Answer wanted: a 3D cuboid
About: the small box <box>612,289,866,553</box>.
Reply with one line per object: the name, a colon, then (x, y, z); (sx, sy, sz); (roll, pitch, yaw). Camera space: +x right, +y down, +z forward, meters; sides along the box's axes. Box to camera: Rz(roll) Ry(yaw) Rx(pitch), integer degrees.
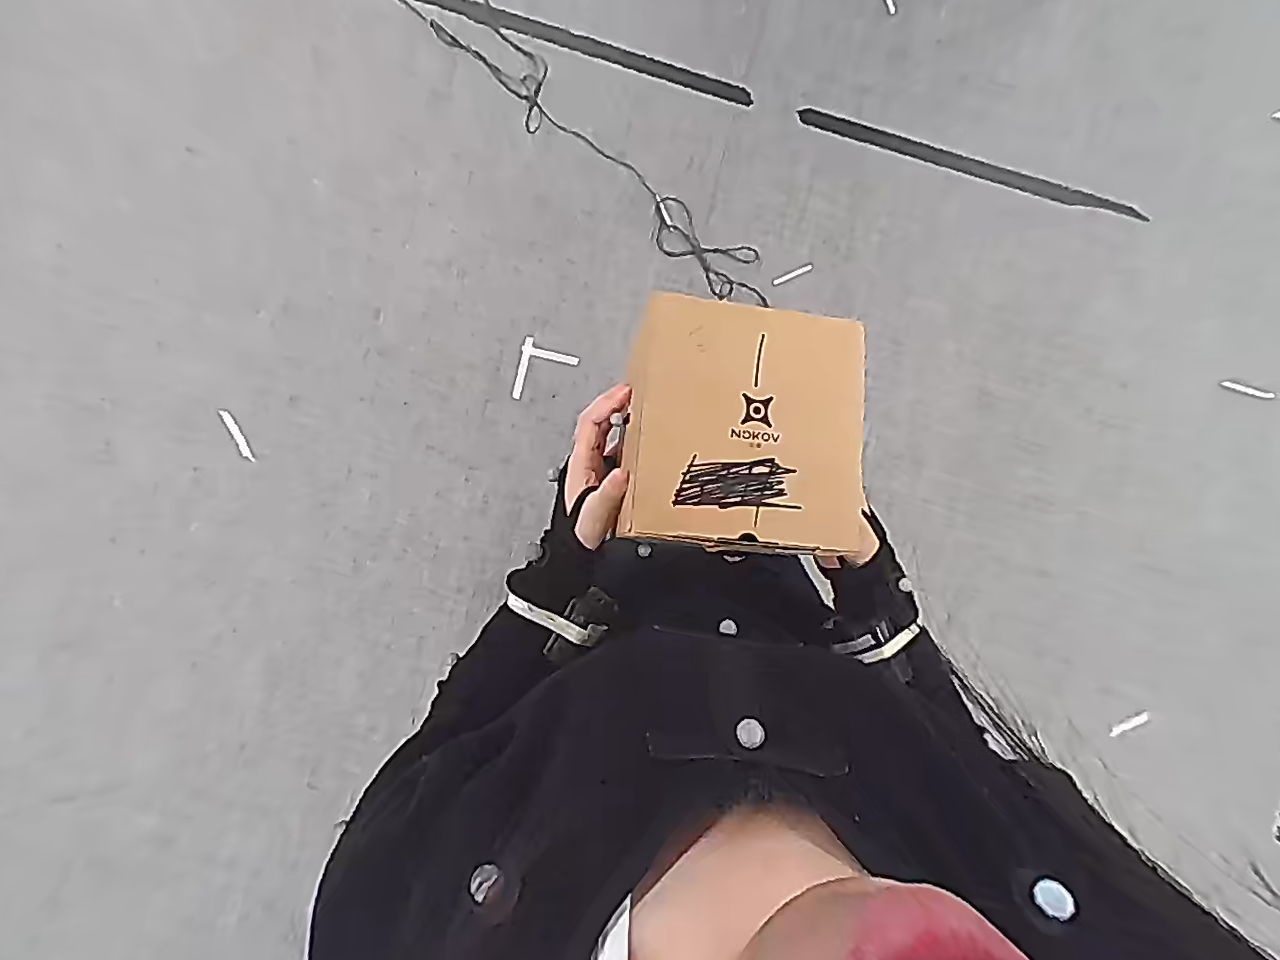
small box: (0.069, -0.032, 0.461); (0.168, 0.176, 0.179); (6, 81, -8)
